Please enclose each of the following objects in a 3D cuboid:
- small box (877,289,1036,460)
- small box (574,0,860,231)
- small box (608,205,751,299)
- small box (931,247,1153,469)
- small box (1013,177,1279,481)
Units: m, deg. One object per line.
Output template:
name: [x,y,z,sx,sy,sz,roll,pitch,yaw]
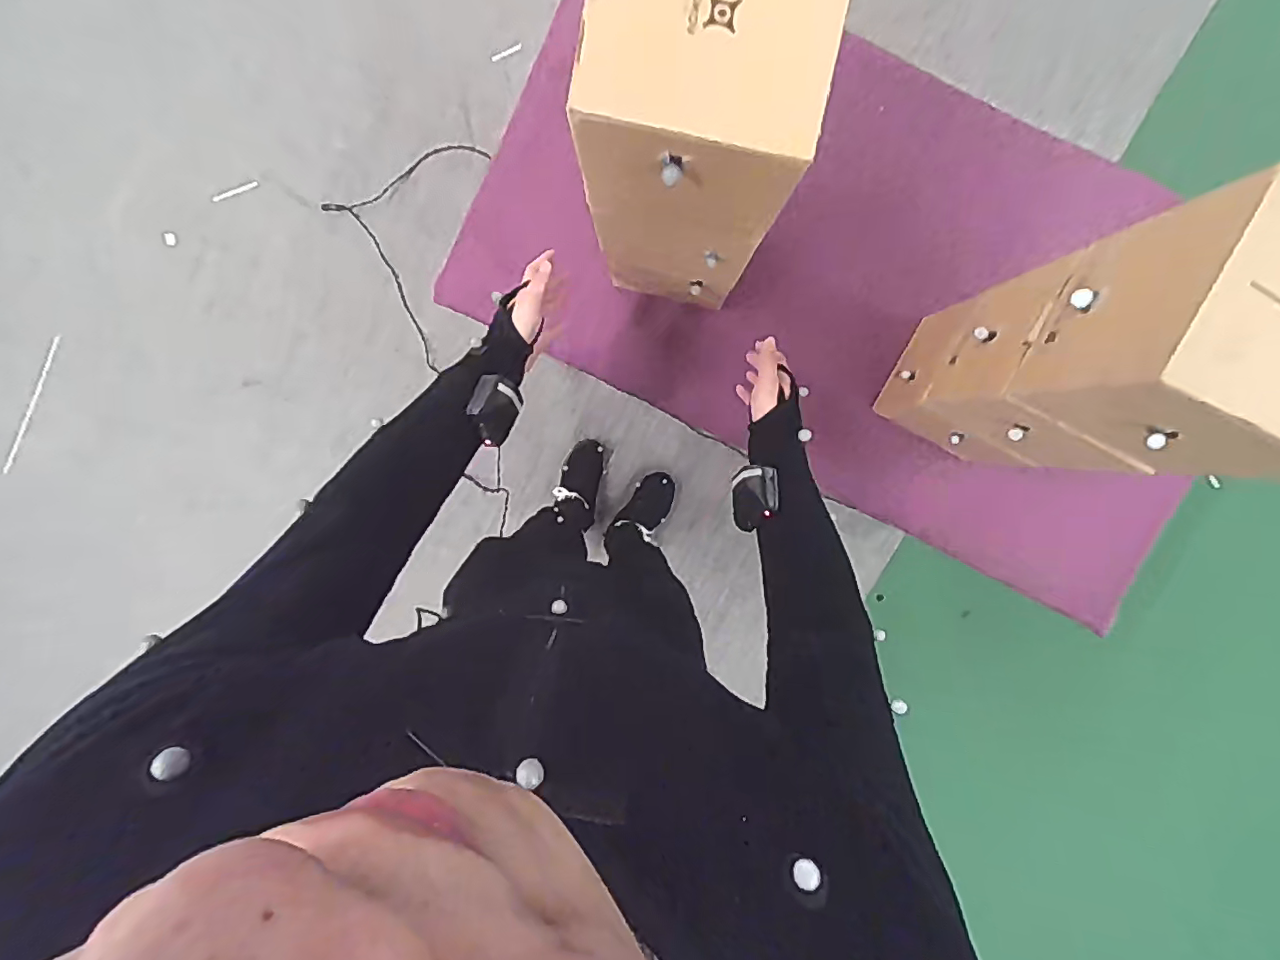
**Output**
small box: [0.481,-0.142,0.780,0.179,0.176,0.168,29,96,-2]
small box: [0.057,-0.322,0.439,0.179,0.176,0.168,12,97,0]
small box: [0.063,-0.367,0.763,0.179,0.176,0.168,13,96,0]
small box: [0.479,-0.127,0.618,0.179,0.176,0.168,28,97,-1]
small box: [0.477,-0.110,0.453,0.179,0.176,0.168,27,96,-1]
